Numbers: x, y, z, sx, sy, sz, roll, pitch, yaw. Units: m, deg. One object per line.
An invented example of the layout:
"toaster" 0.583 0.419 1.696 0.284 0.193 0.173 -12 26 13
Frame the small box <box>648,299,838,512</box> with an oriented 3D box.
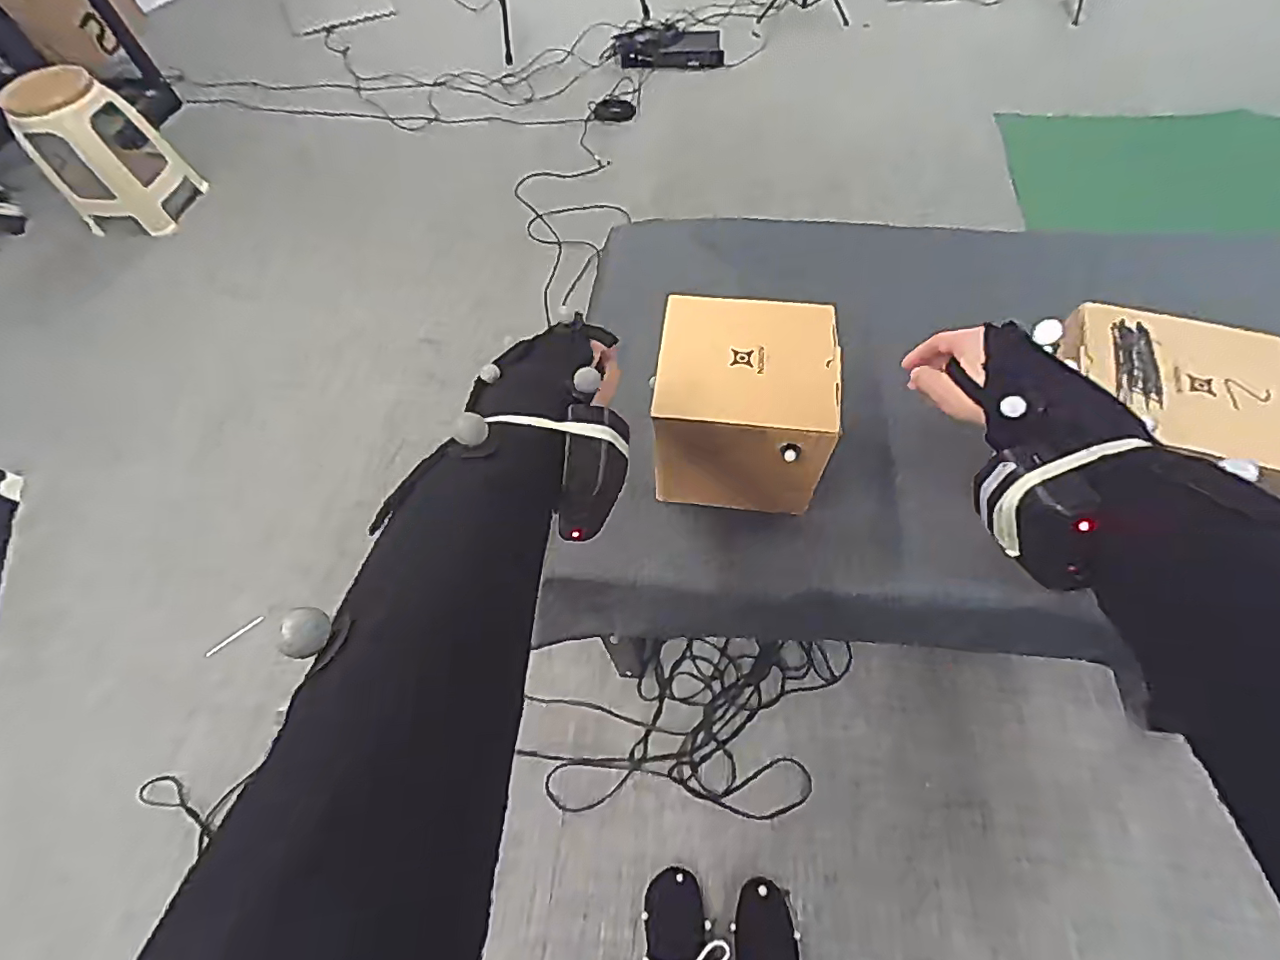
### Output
"small box" 0.108 -0.076 0.602 0.179 0.176 0.168 6 60 6
